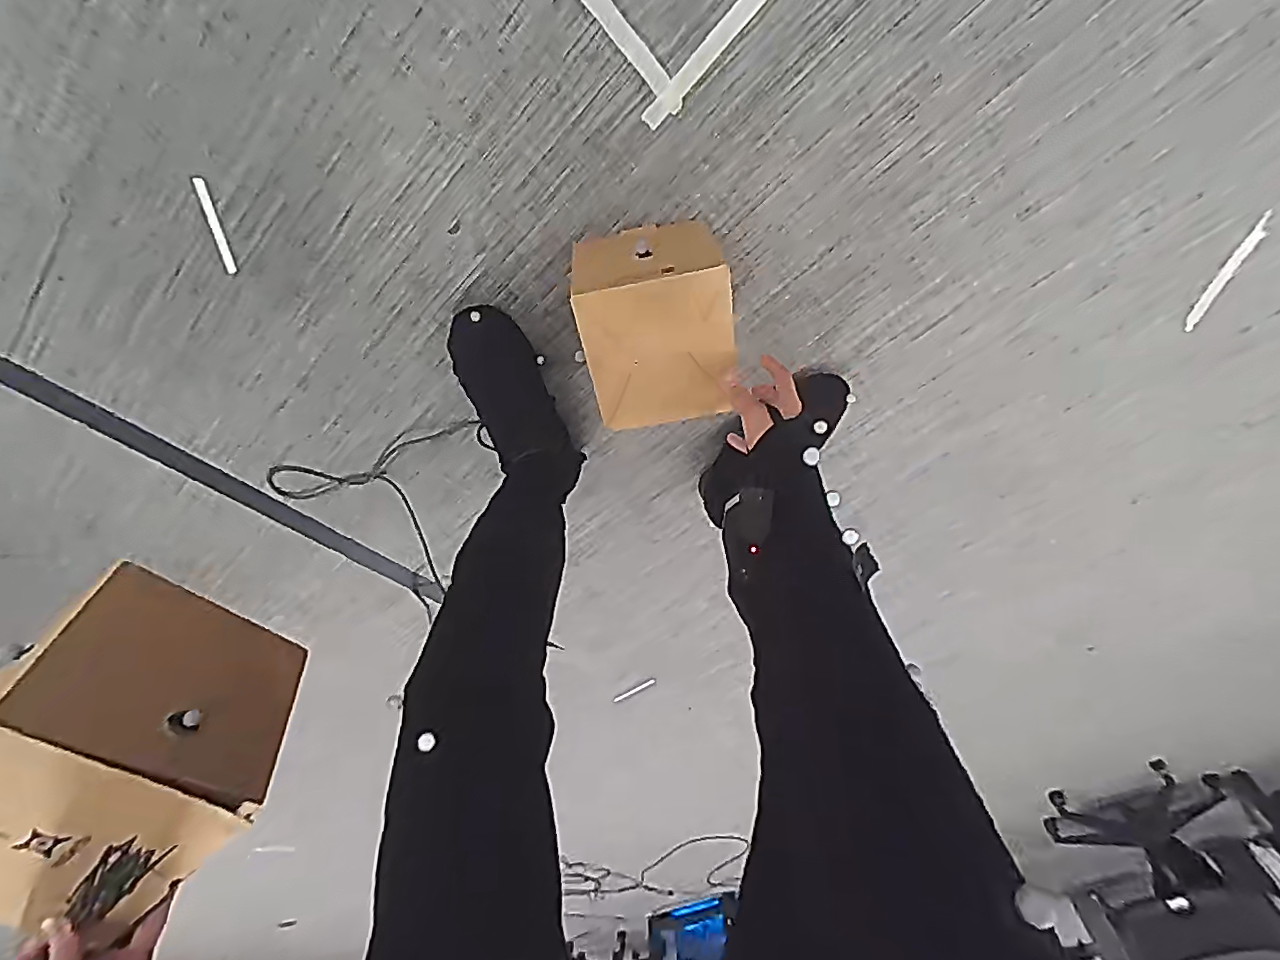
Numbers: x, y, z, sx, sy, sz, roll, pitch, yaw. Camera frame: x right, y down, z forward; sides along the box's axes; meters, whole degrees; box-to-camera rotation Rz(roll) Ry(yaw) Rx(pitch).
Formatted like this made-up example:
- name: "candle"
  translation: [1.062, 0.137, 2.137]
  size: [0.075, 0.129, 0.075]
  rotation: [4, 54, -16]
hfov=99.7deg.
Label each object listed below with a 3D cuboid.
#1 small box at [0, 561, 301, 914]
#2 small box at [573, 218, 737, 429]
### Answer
- name: "small box"
  translation: [-0.421, 0.199, 0.440]
  size: [0.168, 0.176, 0.179]
  rotation: [-40, 121, 4]
- name: "small box"
  translation: [0.019, -0.190, 0.660]
  size: [0.168, 0.176, 0.179]
  rotation: [-10, 131, 4]
